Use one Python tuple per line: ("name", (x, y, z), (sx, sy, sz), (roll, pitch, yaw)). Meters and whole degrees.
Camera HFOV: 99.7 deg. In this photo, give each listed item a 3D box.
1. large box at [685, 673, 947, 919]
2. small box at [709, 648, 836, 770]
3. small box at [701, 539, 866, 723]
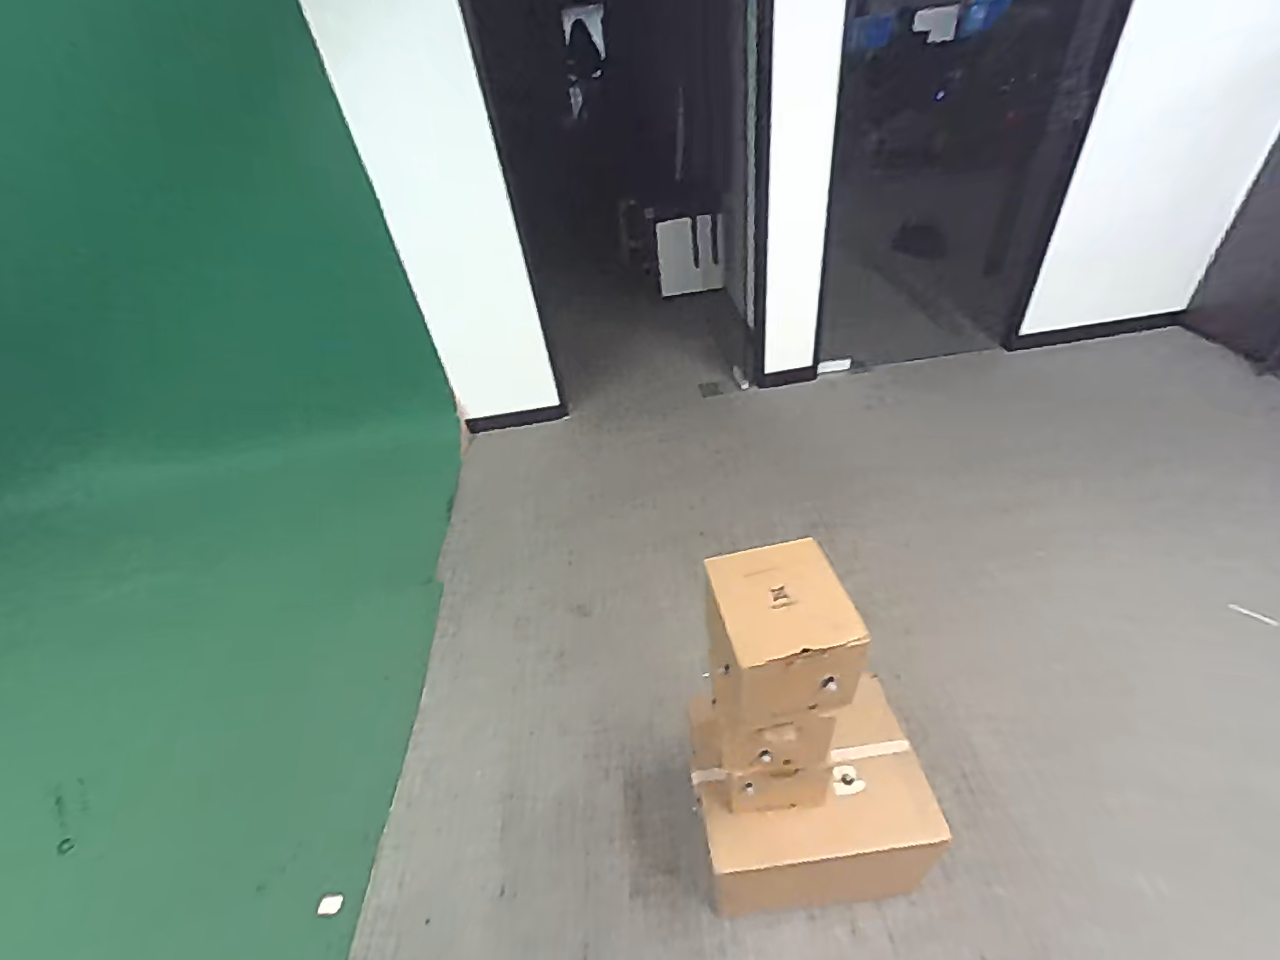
("large box", (0.319, 0.643, 1.107), (0.408, 0.320, 0.320), (-8, 40, -1))
("small box", (0.197, 0.334, 0.860), (0.168, 0.176, 0.179), (-5, 40, 4))
("small box", (0.187, 0.214, 0.751), (0.168, 0.176, 0.179), (-10, 39, -4))
